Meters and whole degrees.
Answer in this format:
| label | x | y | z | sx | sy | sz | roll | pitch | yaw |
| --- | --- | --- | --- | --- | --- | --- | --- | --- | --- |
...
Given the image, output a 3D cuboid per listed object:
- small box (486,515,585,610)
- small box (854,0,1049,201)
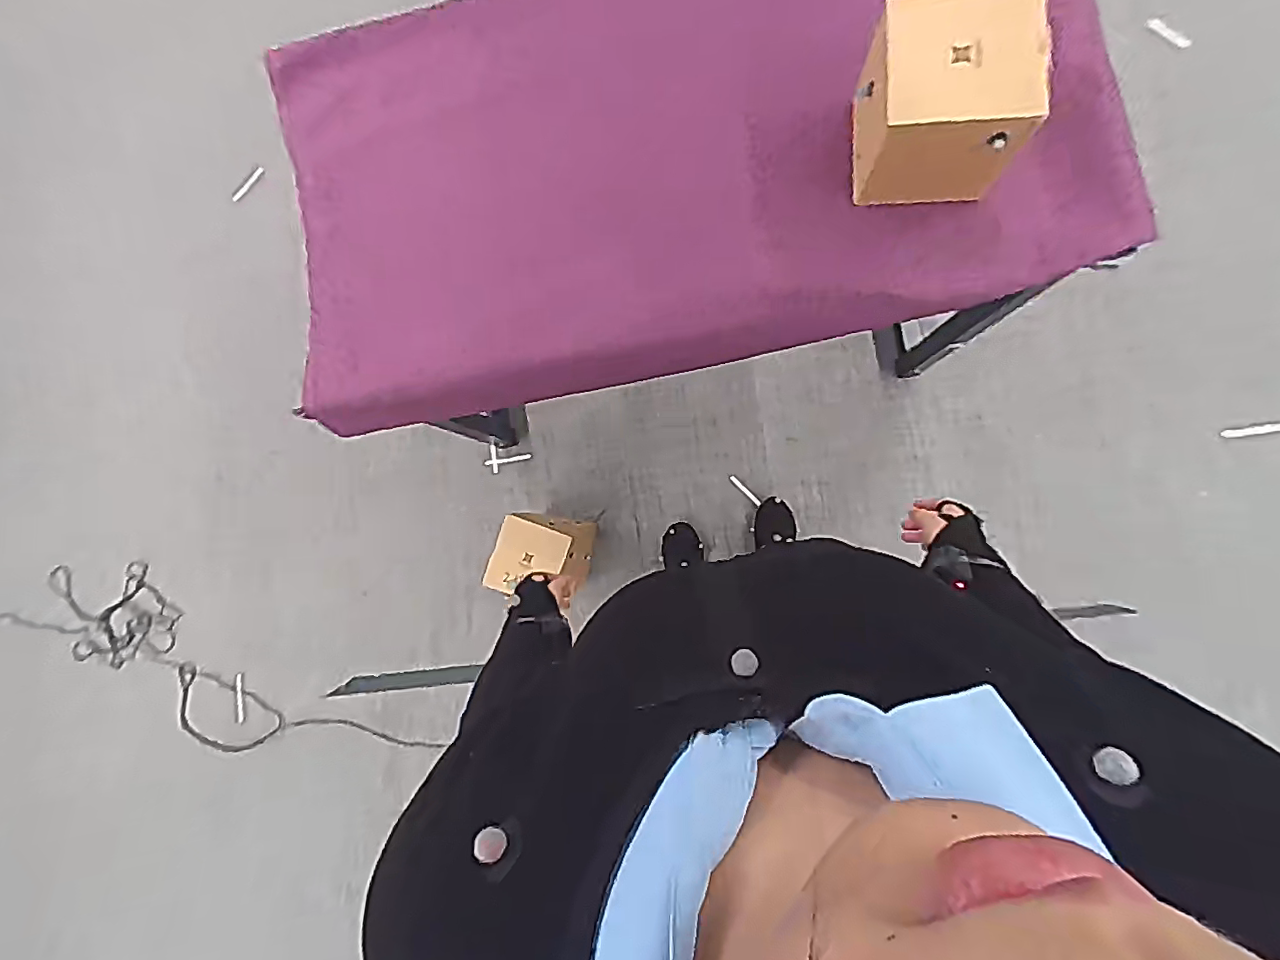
| label | x | y | z | sx | sy | sz | roll | pitch | yaw |
| --- | --- | --- | --- | --- | --- | --- | --- | --- | --- |
| small box | -0.241 | 0.190 | 1.300 | 0.168 | 0.176 | 0.179 | 19 | 90 | 7 |
| small box | 0.386 | -0.488 | 0.703 | 0.179 | 0.176 | 0.168 | 0 | 86 | 7 |
